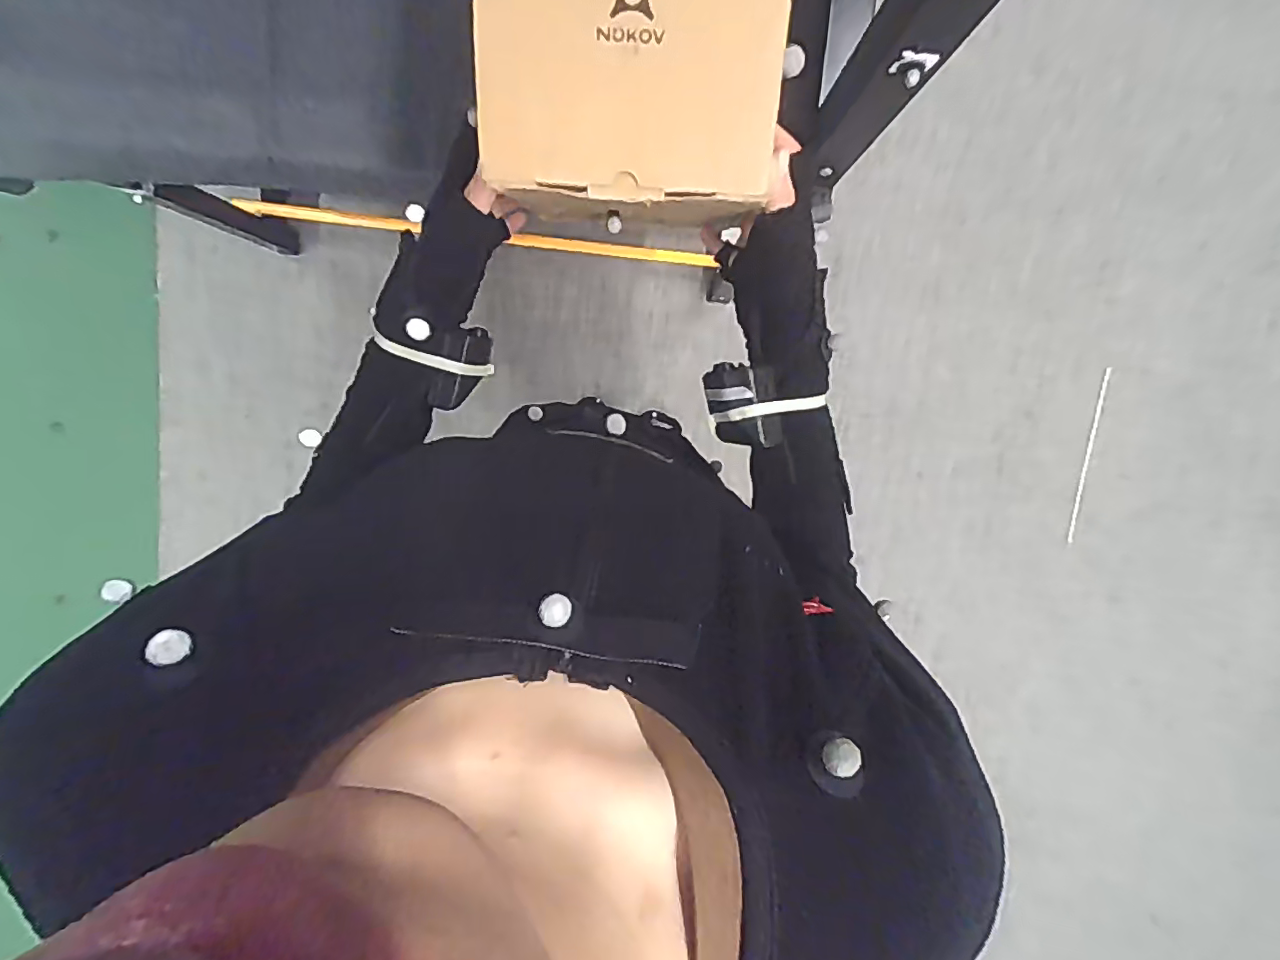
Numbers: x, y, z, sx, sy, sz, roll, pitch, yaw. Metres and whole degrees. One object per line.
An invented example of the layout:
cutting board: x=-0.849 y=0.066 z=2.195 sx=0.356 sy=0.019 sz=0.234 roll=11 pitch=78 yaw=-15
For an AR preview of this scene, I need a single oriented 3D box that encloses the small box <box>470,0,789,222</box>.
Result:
small box: x=-0.004 y=-0.276 z=0.349 sx=0.168 sy=0.176 sz=0.179 roll=3 pitch=110 yaw=0
